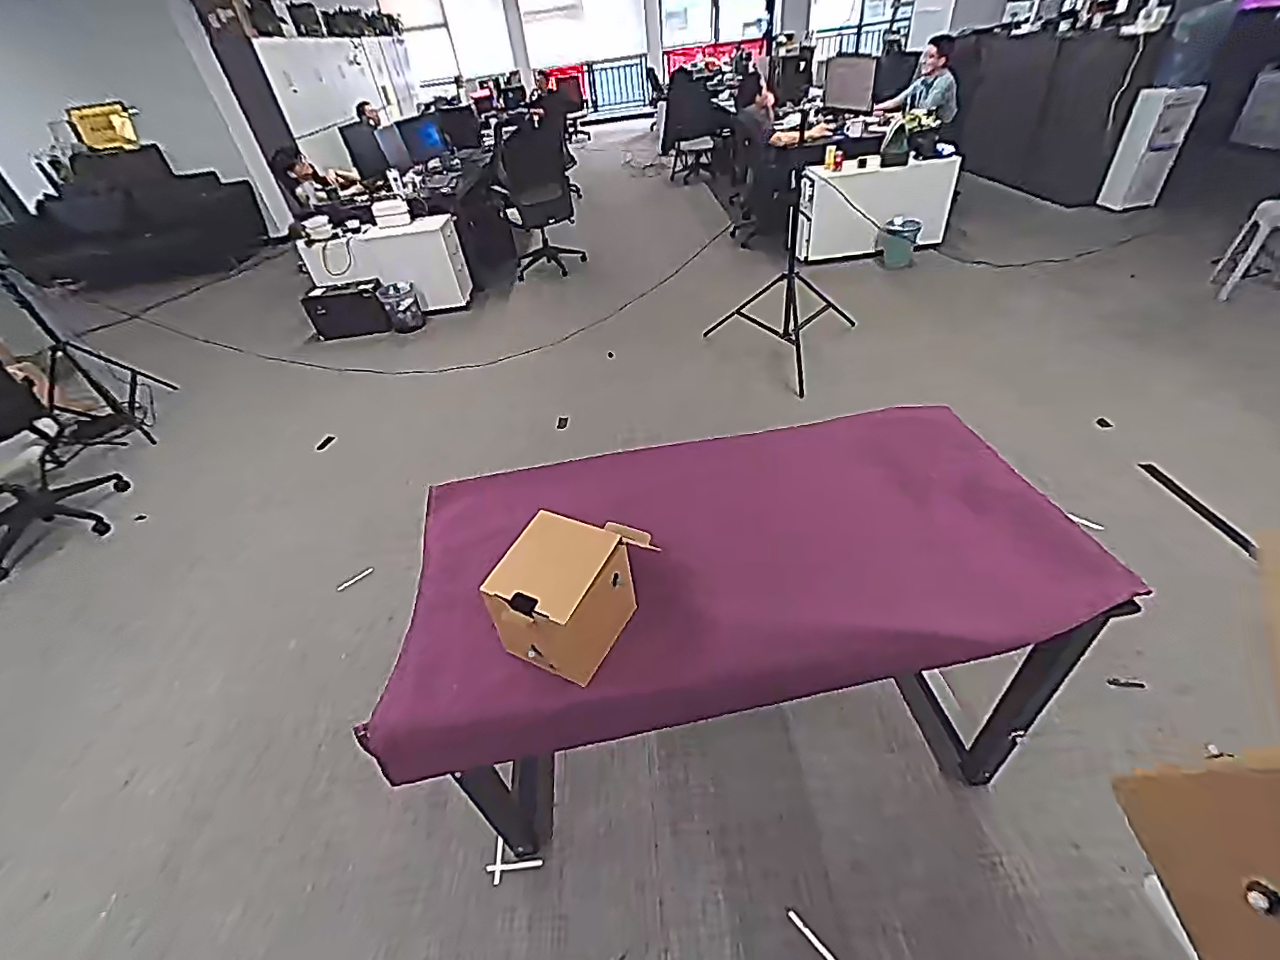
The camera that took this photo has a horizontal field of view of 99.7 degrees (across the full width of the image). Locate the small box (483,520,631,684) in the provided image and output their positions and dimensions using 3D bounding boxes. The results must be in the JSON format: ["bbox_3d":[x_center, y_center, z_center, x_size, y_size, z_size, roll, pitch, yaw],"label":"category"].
[{"bbox_3d":[-0.126,0.200,0.903,0.168,0.176,0.179,14,44,26],"label":"small box"}]
